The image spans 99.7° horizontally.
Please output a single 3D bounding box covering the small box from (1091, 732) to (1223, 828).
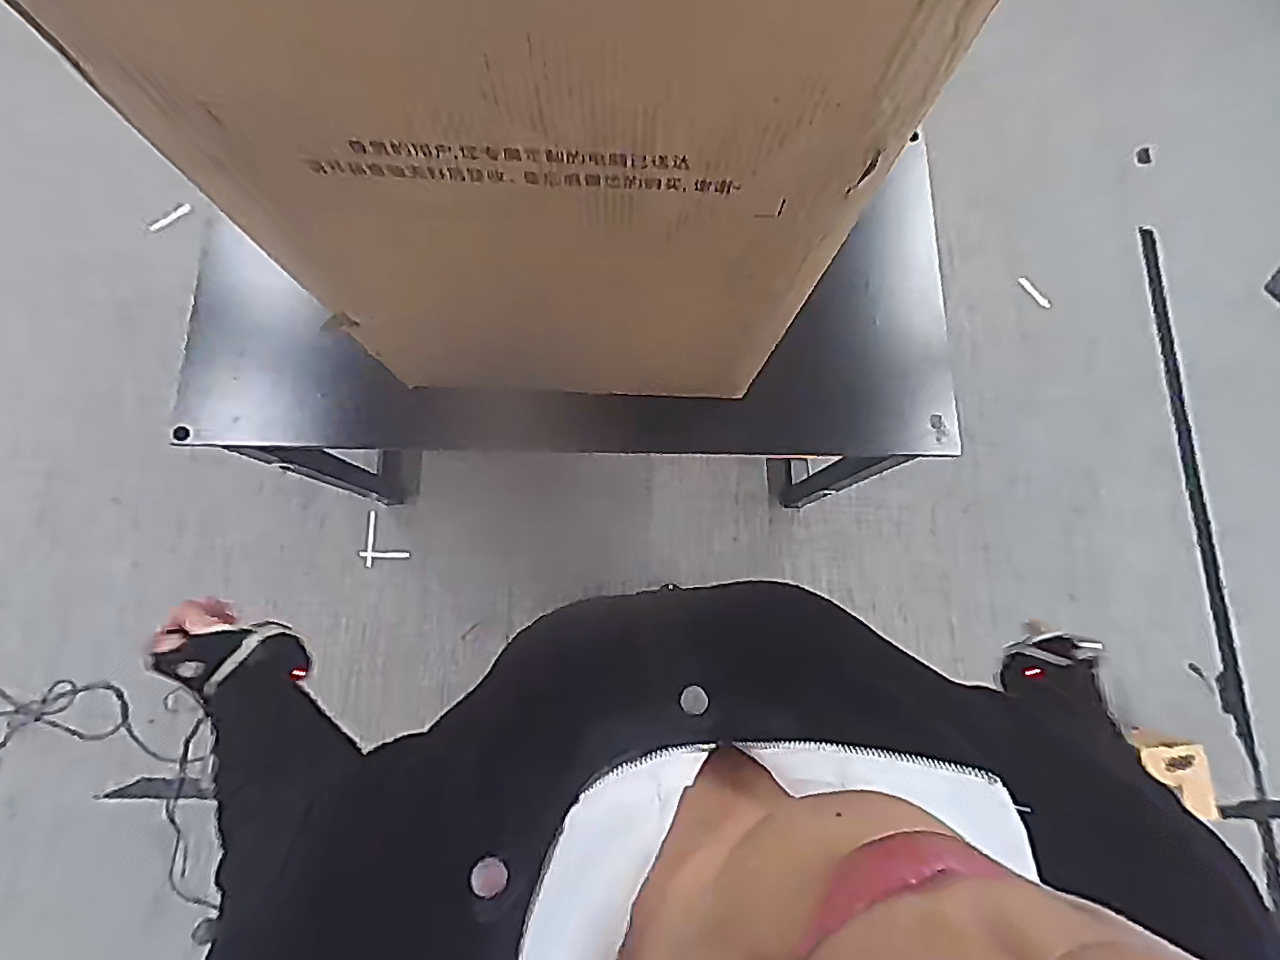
[{"bbox_3d":[1.304,0.753,1.379,0.168,0.176,0.179,-2,80,-2],"label":"small box"}]
